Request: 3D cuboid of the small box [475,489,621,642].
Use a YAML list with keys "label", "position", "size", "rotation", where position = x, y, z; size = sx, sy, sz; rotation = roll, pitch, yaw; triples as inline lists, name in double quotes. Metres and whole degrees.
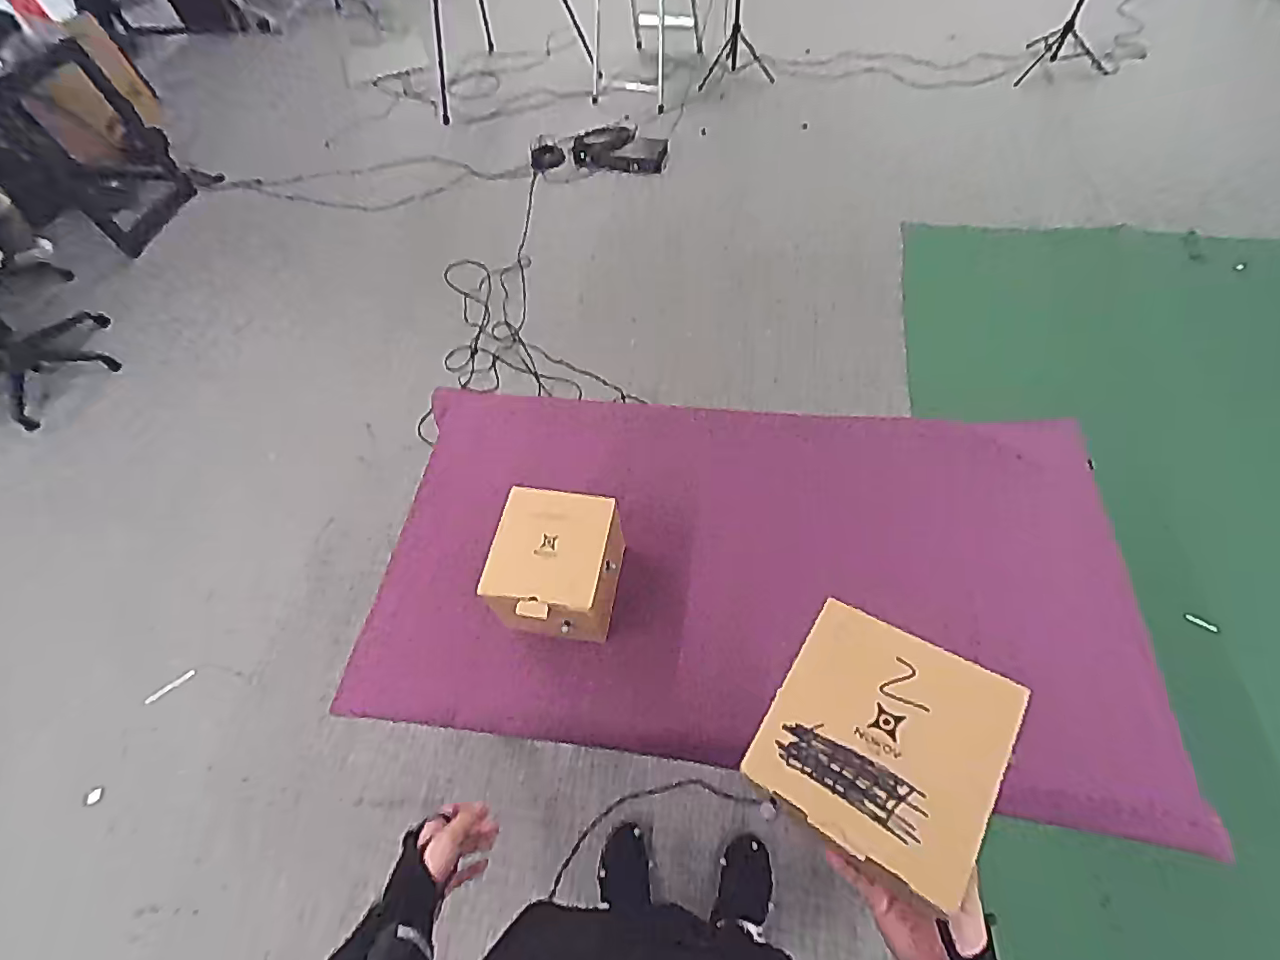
- label: "small box"
  position: [-0.129, 0.139, 0.845]
  size: [0.168, 0.176, 0.179]
  rotation: [8, 59, 9]
